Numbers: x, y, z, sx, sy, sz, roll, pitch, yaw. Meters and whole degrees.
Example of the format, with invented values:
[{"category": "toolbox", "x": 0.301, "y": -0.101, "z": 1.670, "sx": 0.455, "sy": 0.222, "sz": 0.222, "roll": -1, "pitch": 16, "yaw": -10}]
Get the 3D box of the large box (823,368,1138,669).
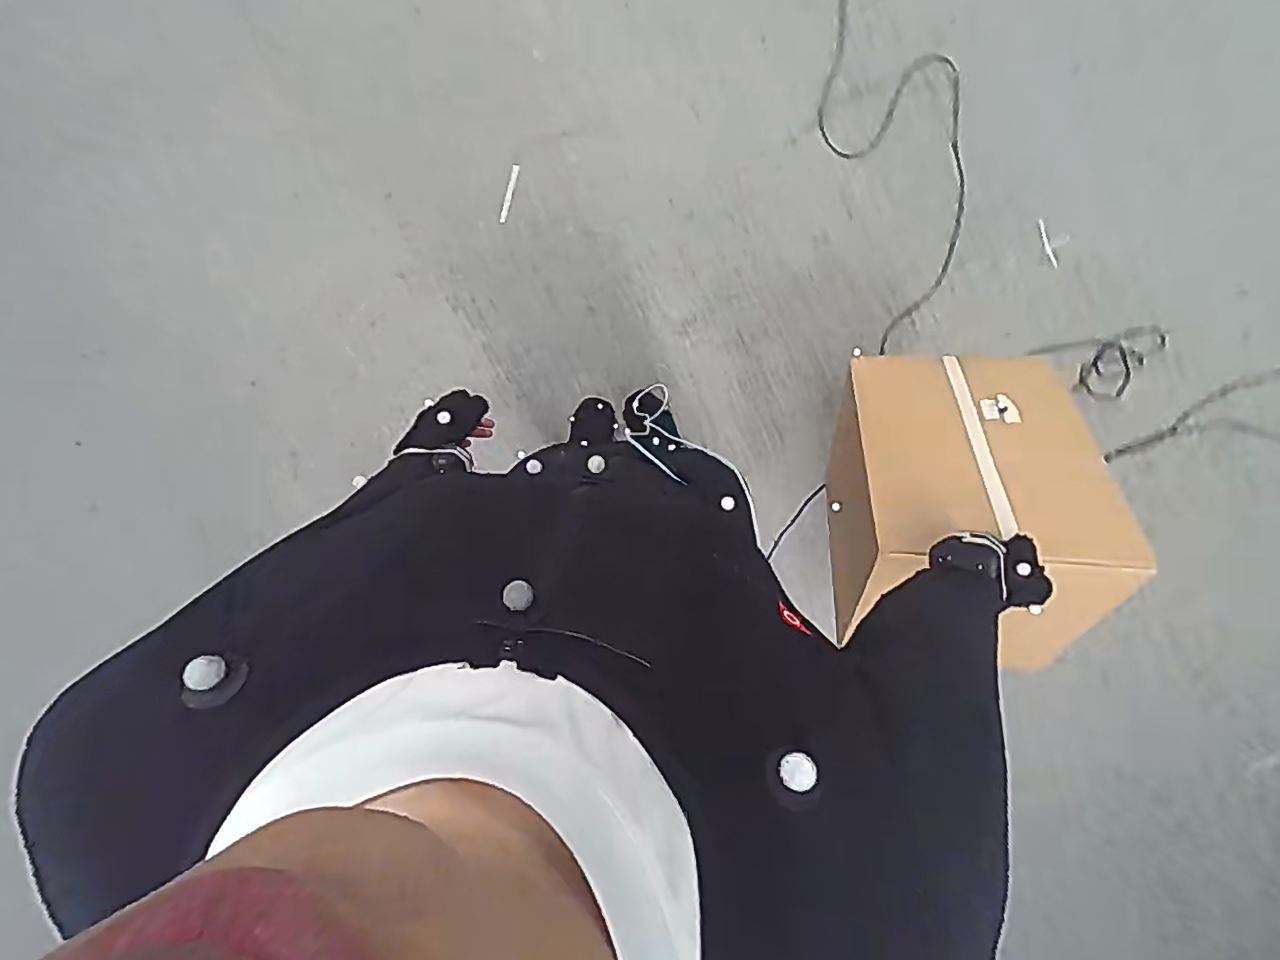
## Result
[{"category": "large box", "x": 0.500, "y": 0.059, "z": 0.916, "sx": 0.320, "sy": 0.408, "sz": 0.320, "roll": 4, "pitch": 139, "yaw": 10}]
